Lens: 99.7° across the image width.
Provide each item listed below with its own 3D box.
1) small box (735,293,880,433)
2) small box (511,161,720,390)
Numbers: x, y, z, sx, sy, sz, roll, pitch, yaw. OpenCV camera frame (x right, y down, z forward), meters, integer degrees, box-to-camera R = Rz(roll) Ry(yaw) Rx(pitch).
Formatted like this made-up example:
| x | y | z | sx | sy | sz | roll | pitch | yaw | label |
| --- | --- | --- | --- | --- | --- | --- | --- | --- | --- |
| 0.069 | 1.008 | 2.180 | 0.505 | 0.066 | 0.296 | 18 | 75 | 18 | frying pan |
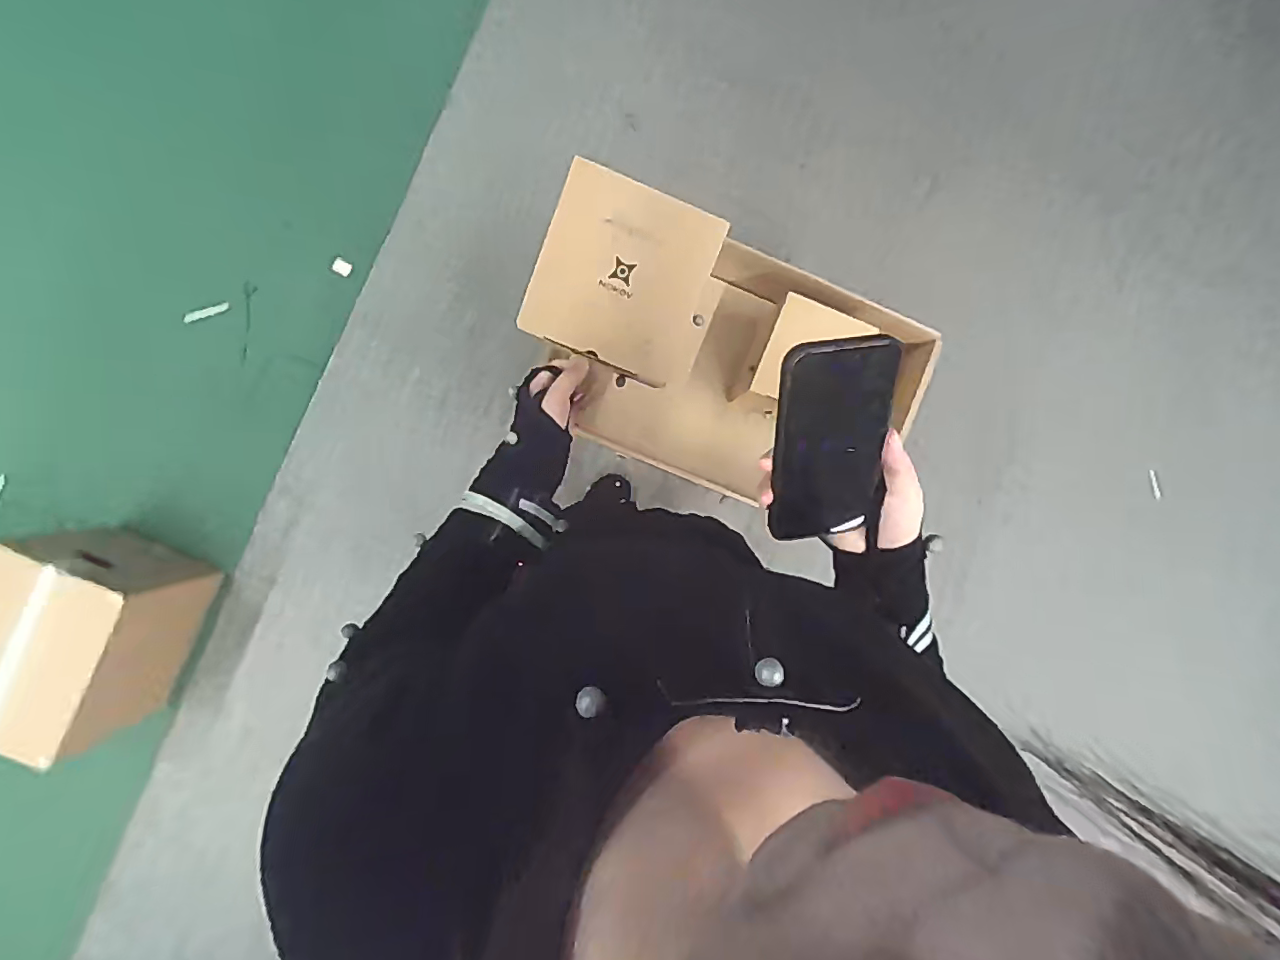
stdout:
| x | y | z | sx | sy | sz | roll | pitch | yaw | label |
| --- | --- | --- | --- | --- | --- | --- | --- | --- | --- |
| 0.282 | -0.195 | 0.957 | 0.168 | 0.176 | 0.179 | 23 | 91 | -2 | small box |
| -0.026 | -0.212 | 0.615 | 0.168 | 0.176 | 0.179 | 21 | 98 | -4 | small box |
